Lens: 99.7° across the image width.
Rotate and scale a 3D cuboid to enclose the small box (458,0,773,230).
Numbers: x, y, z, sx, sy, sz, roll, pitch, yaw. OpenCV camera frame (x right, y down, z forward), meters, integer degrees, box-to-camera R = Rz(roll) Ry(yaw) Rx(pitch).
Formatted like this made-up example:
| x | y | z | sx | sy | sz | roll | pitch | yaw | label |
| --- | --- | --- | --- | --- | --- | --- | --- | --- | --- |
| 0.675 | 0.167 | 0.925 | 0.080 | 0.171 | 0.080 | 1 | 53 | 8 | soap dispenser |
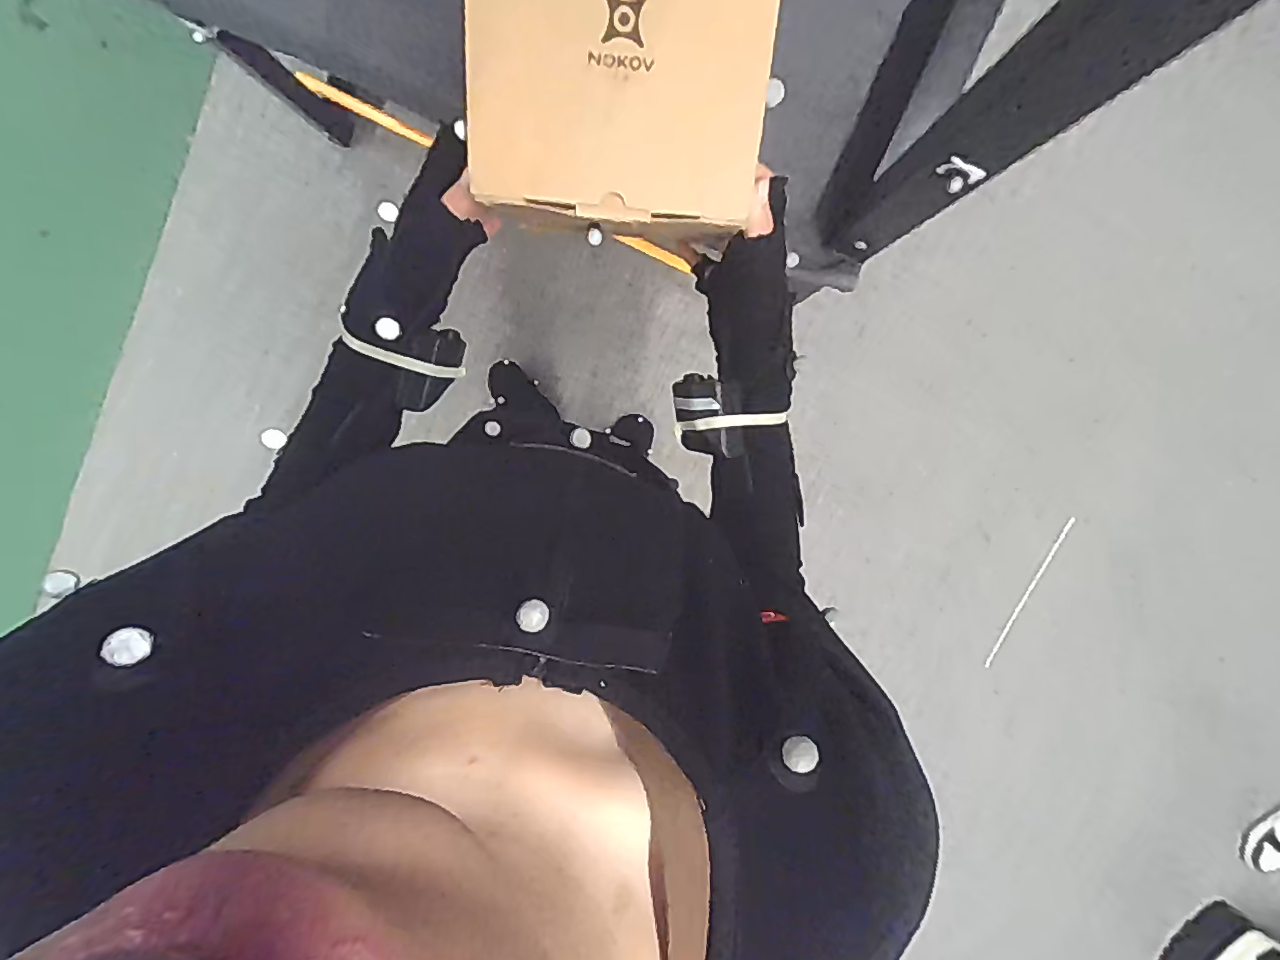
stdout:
| x | y | z | sx | sy | sz | roll | pitch | yaw | label |
| --- | --- | --- | --- | --- | --- | --- | --- | --- | --- |
| -0.017 | -0.272 | 0.354 | 0.168 | 0.176 | 0.179 | 3 | 111 | -4 | small box |
